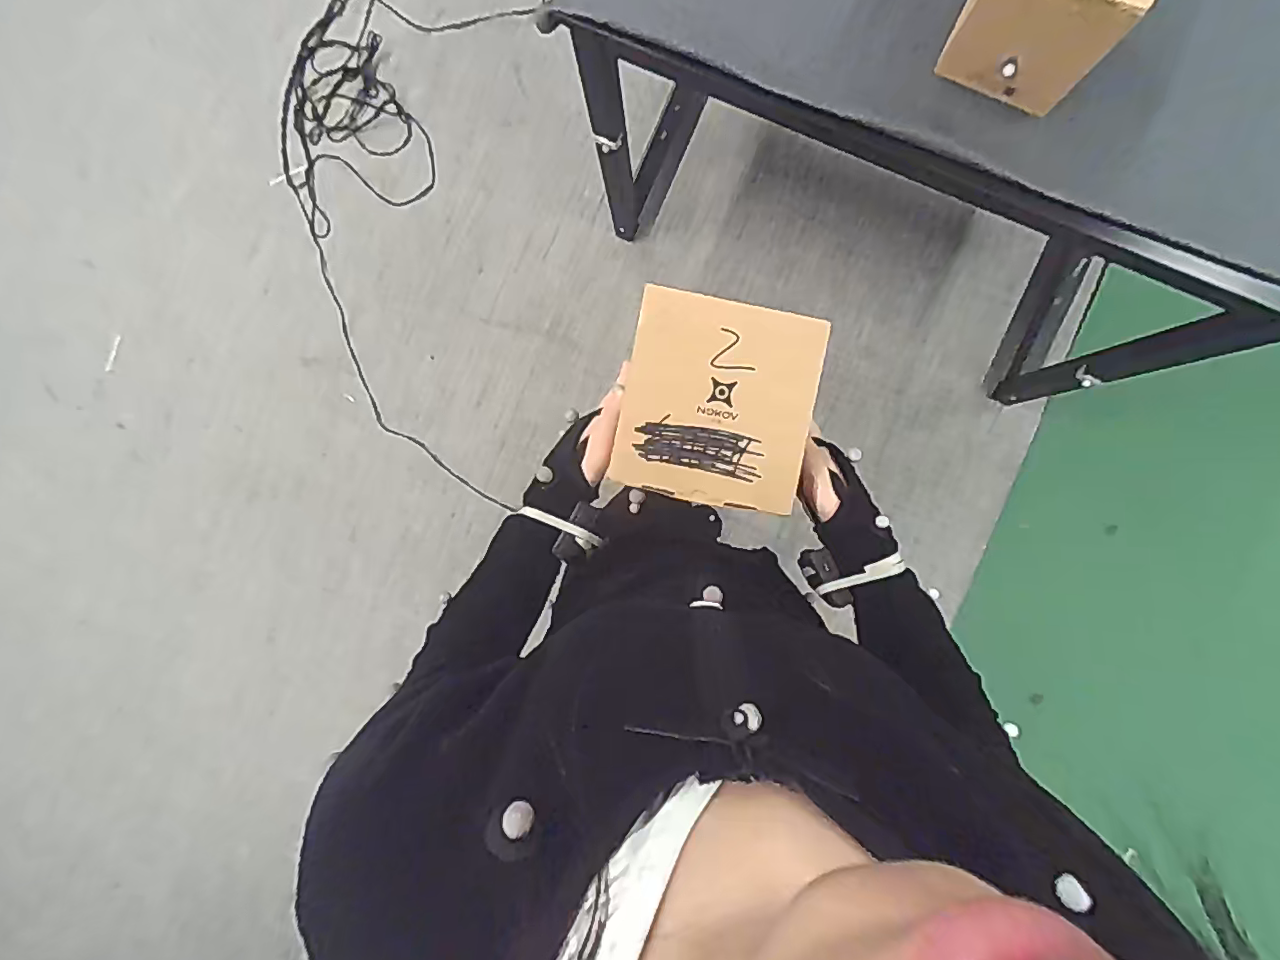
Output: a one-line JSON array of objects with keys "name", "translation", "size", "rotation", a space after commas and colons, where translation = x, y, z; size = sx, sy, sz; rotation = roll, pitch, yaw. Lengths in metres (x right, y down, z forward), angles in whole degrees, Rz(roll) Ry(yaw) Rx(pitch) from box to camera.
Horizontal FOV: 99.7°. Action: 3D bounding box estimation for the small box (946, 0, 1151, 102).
[{"name": "small box", "translation": [0.517, -0.625, 0.662], "size": [0.168, 0.176, 0.179], "rotation": [26, 91, 3]}]
